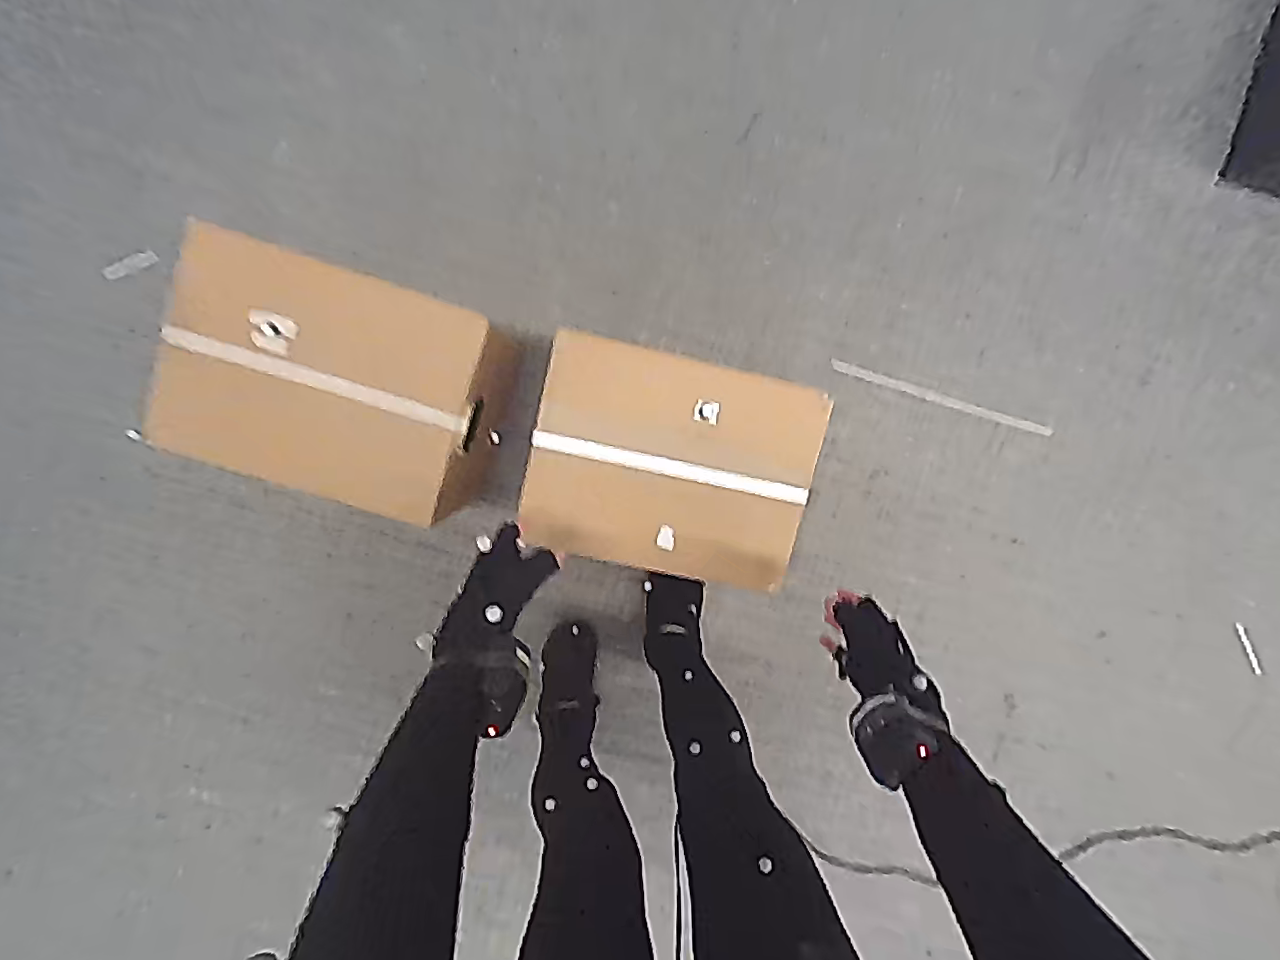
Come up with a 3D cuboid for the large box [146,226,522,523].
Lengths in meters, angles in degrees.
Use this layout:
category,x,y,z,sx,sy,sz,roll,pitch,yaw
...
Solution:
category,x,y,z,sx,sy,sz,roll,pitch,yaw
large box,-0.448,-0.153,0.884,0.408,0.320,0.320,17,95,-4
